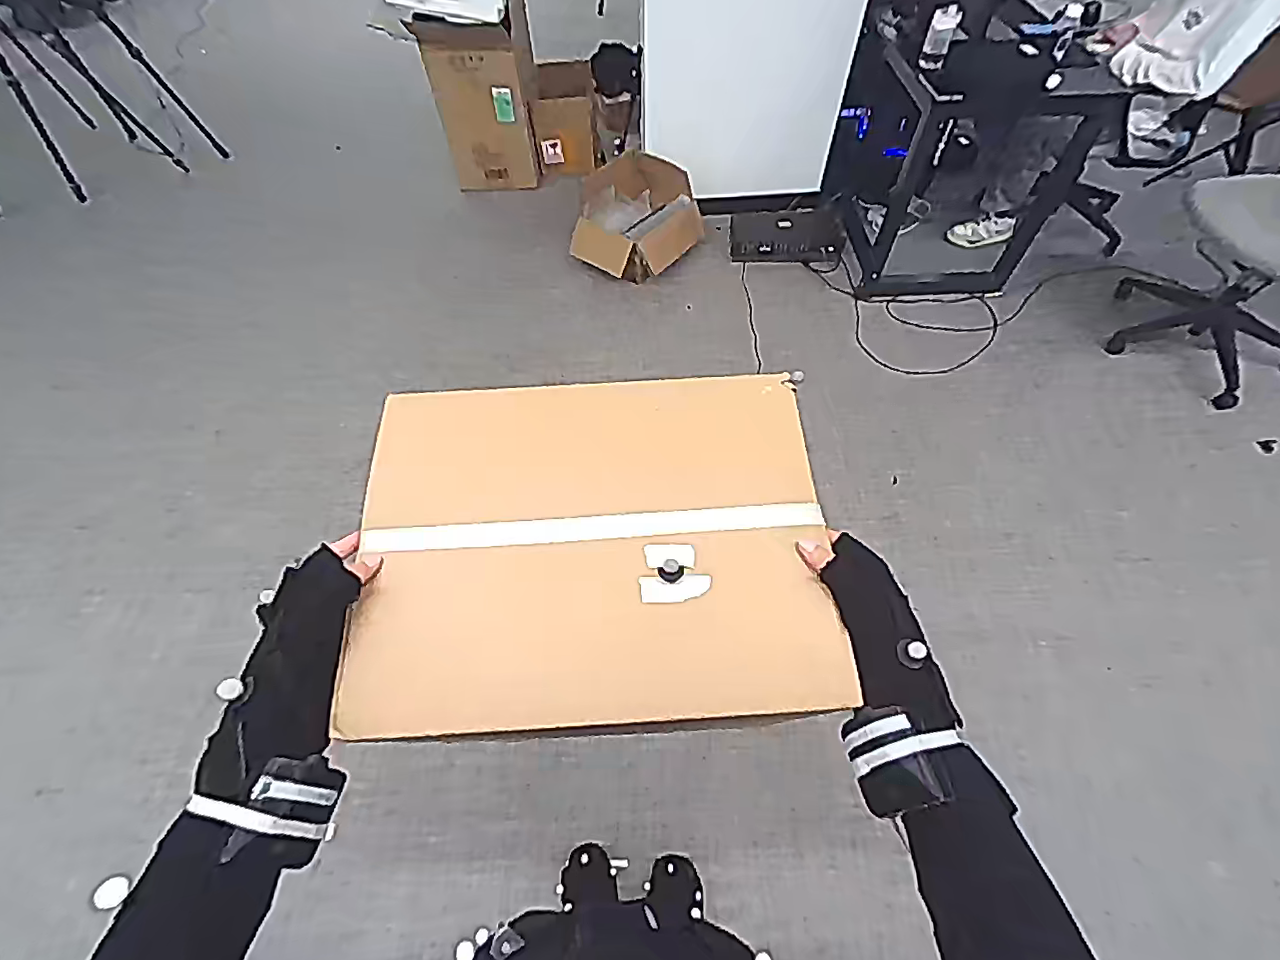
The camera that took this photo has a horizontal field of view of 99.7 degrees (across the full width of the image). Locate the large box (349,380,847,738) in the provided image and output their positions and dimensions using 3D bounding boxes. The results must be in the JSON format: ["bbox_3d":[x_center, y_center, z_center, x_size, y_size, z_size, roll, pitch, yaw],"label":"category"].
[{"bbox_3d":[-0.040,0.110,0.623,0.408,0.320,0.320,-3,64,-1],"label":"large box"}]
